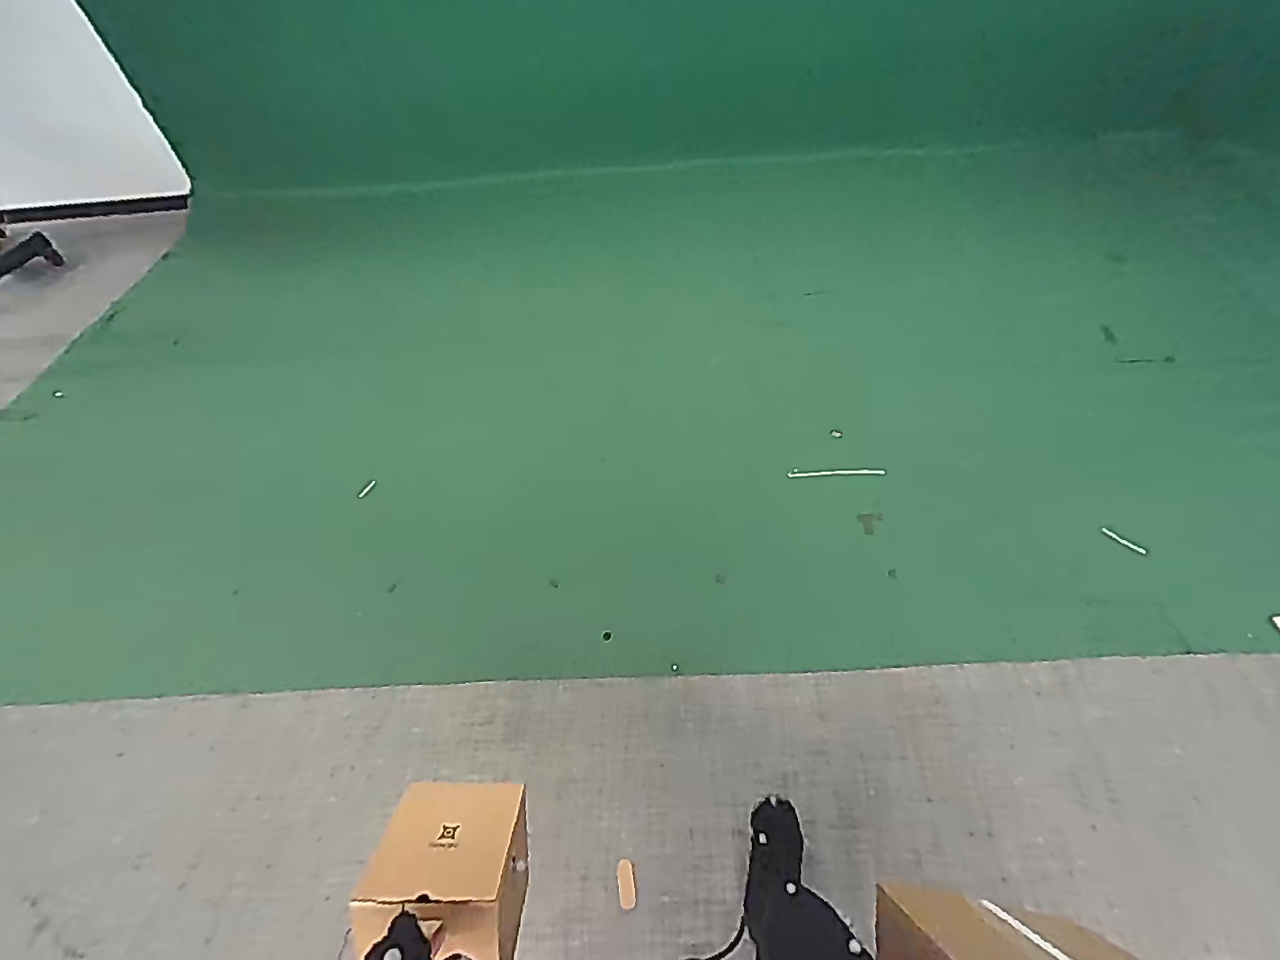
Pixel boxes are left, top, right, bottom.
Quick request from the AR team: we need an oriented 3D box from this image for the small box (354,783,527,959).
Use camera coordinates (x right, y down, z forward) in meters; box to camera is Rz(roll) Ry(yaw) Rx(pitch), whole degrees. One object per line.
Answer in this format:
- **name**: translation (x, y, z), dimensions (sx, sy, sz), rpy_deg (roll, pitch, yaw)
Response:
- **small box**: translation (-0.247, 0.535, 0.707), dimensions (0.168, 0.176, 0.179), rpy_deg (1, 14, -1)
